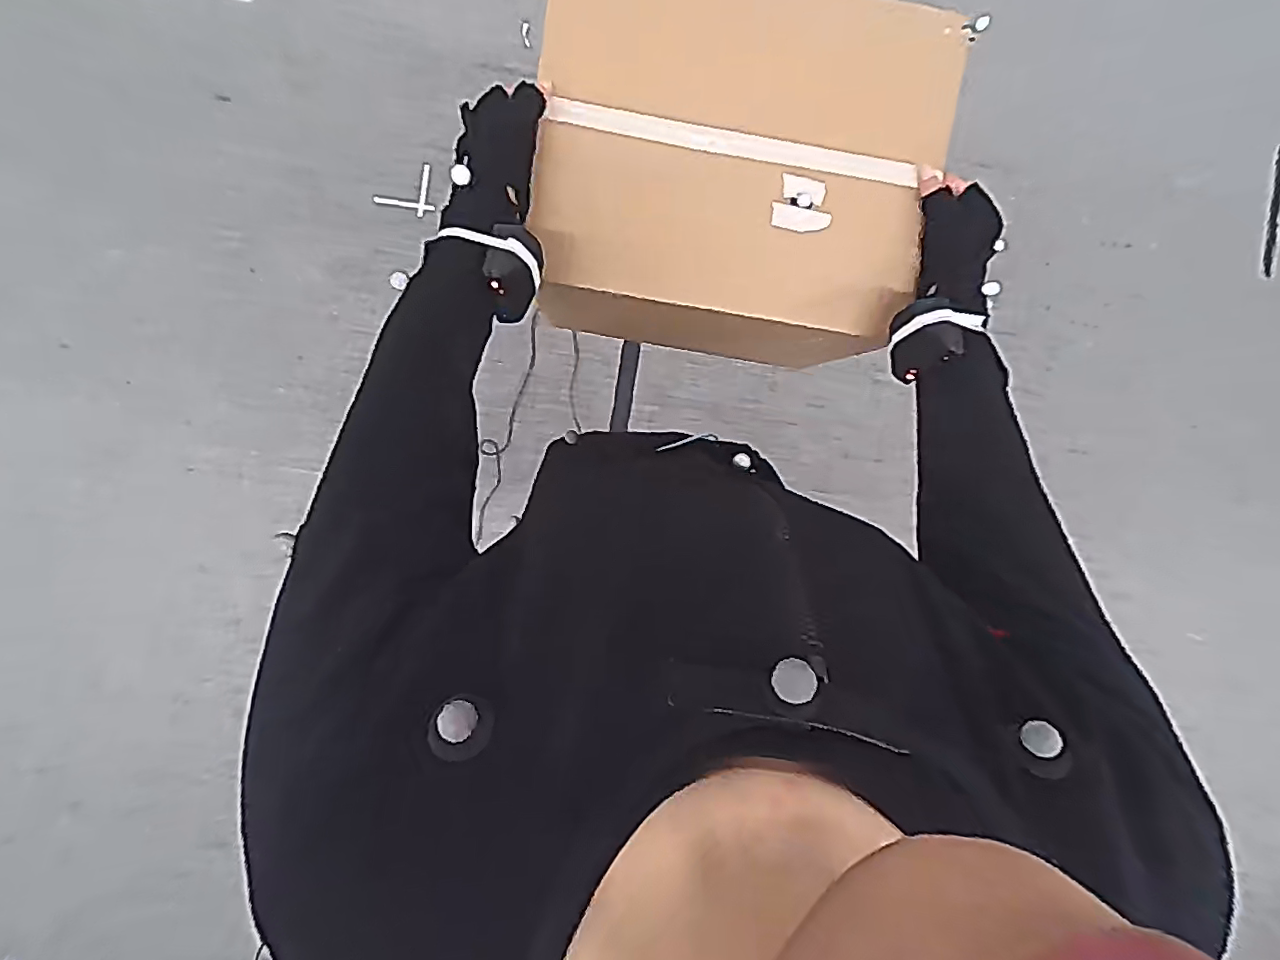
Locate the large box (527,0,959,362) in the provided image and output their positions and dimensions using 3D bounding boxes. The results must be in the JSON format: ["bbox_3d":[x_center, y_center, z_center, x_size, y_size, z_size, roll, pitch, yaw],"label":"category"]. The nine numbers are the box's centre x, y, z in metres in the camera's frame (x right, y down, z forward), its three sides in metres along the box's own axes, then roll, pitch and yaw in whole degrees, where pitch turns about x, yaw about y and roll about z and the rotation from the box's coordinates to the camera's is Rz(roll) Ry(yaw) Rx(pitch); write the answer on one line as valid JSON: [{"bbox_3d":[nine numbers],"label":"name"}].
[{"bbox_3d":[0.092,-0.345,0.685,0.408,0.320,0.320,8,97,-4],"label":"large box"}]
